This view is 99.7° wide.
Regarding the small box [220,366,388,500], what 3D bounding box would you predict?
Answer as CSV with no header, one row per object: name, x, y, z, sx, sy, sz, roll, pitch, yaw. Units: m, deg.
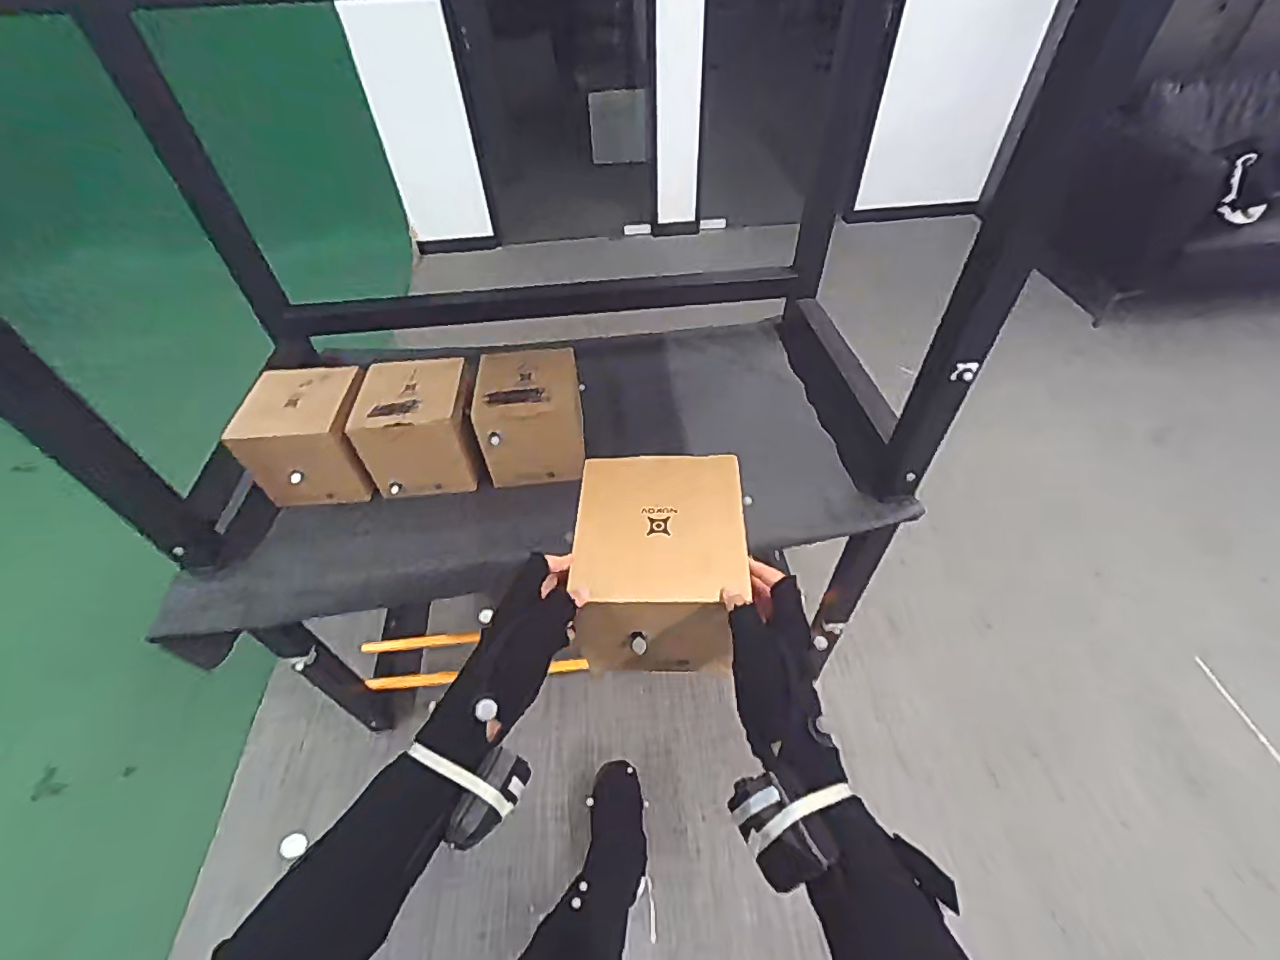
small box,-0.562,-0.076,0.938,0.168,0.176,0.179,-3,47,-2
